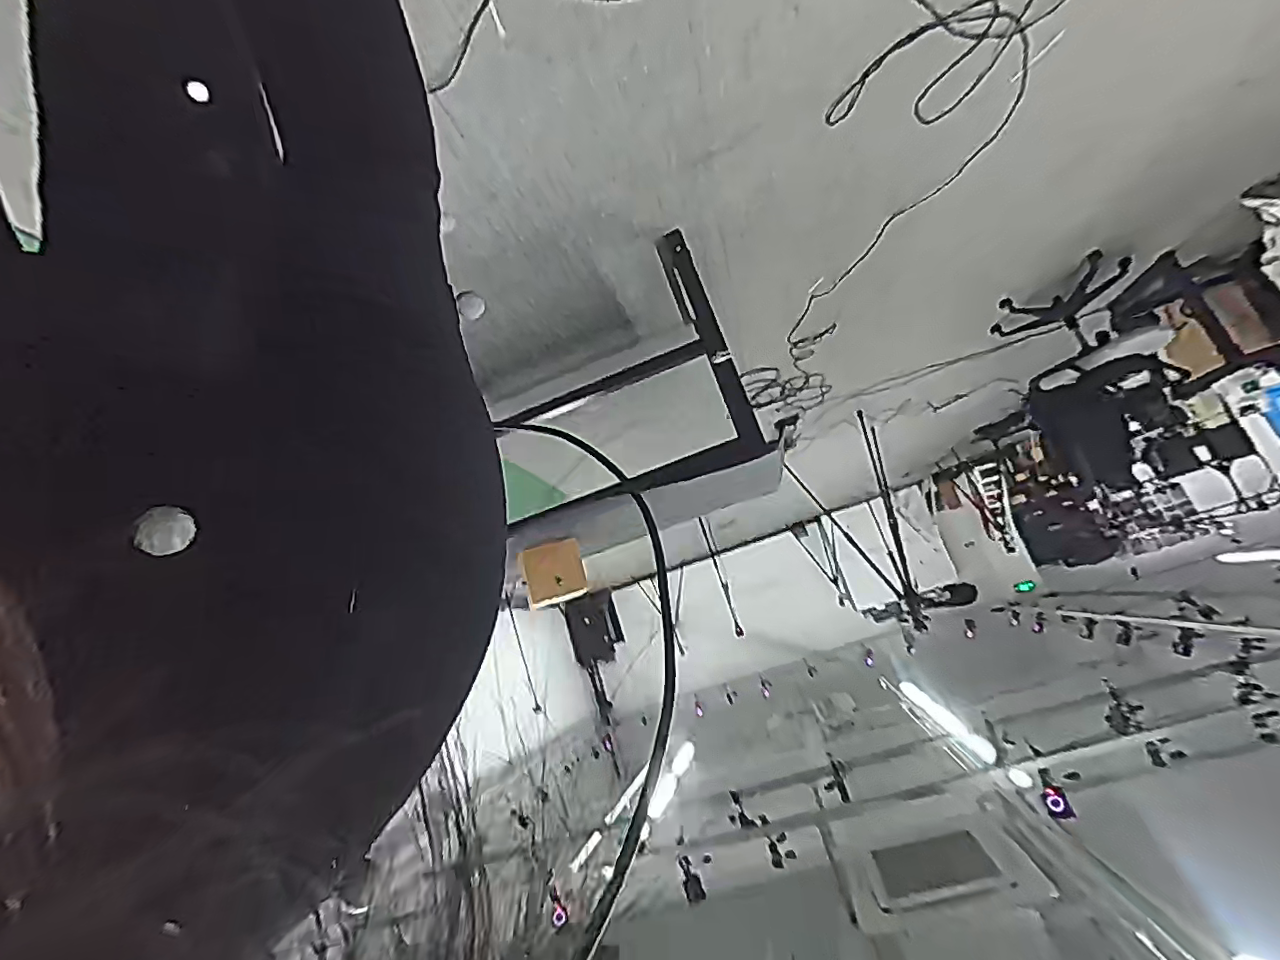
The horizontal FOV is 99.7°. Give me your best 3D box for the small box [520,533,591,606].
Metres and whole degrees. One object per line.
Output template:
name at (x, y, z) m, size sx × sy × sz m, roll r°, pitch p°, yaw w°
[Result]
small box at (-0.270, 0.279, 1.689) m, size 0.179 × 0.176 × 0.168 m, roll -15°, pitch 165°, yaw -19°
